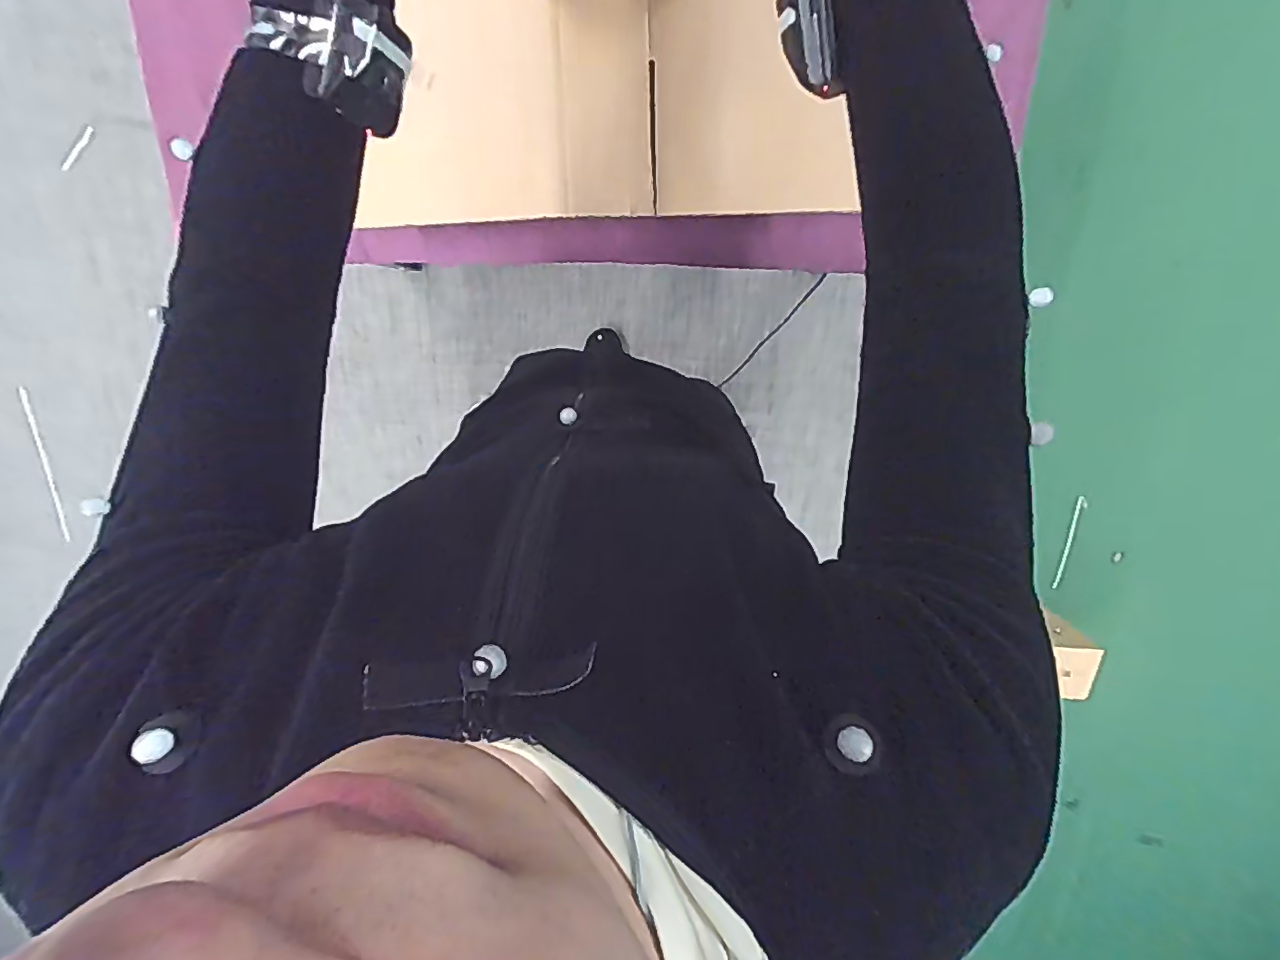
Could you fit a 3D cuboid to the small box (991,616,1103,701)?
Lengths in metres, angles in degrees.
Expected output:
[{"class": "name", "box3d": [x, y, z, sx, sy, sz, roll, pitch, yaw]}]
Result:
[{"class": "small box", "box3d": [1.158, 0.508, 1.555, 0.179, 0.176, 0.168, 4, 107, -2]}]
